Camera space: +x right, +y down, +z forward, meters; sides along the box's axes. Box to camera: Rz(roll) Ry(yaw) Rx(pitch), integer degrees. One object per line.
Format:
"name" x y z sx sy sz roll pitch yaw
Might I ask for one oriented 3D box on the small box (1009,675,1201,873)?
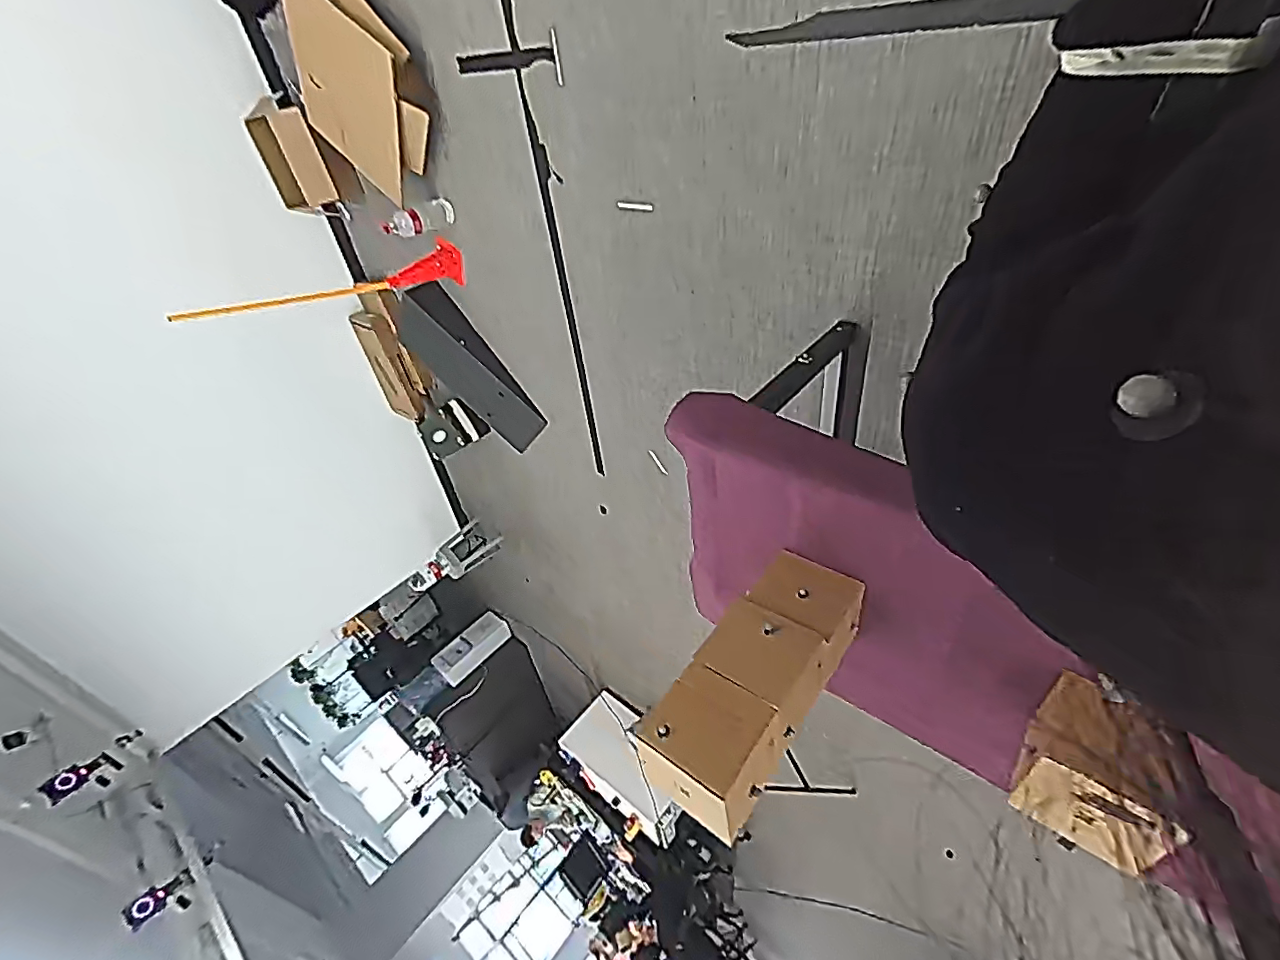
"small box" 0.696 0.434 0.817 0.168 0.176 0.179 24 140 34

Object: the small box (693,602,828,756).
"small box" 0.221 0.352 0.992 0.179 0.176 0.168 20 137 37

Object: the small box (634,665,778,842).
"small box" 0.119 0.446 0.907 0.179 0.176 0.168 20 137 36
